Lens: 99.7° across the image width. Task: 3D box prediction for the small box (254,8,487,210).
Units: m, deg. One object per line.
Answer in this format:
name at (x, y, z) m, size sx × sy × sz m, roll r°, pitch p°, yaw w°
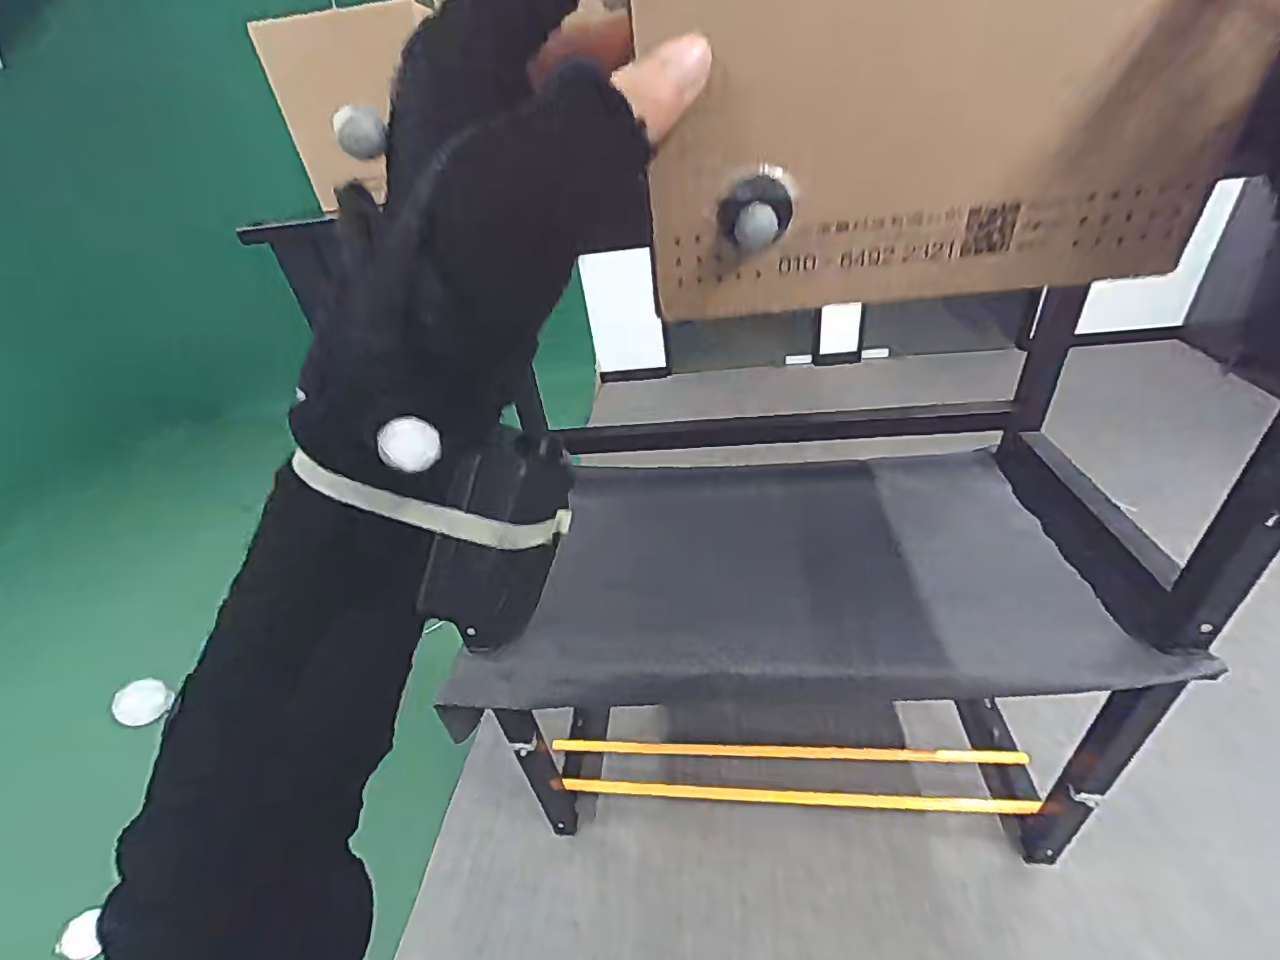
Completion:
small box at (-0.296, -0.430, 0.646) m, size 0.168 × 0.176 × 0.179 m, roll -6°, pitch 34°, yaw 3°
